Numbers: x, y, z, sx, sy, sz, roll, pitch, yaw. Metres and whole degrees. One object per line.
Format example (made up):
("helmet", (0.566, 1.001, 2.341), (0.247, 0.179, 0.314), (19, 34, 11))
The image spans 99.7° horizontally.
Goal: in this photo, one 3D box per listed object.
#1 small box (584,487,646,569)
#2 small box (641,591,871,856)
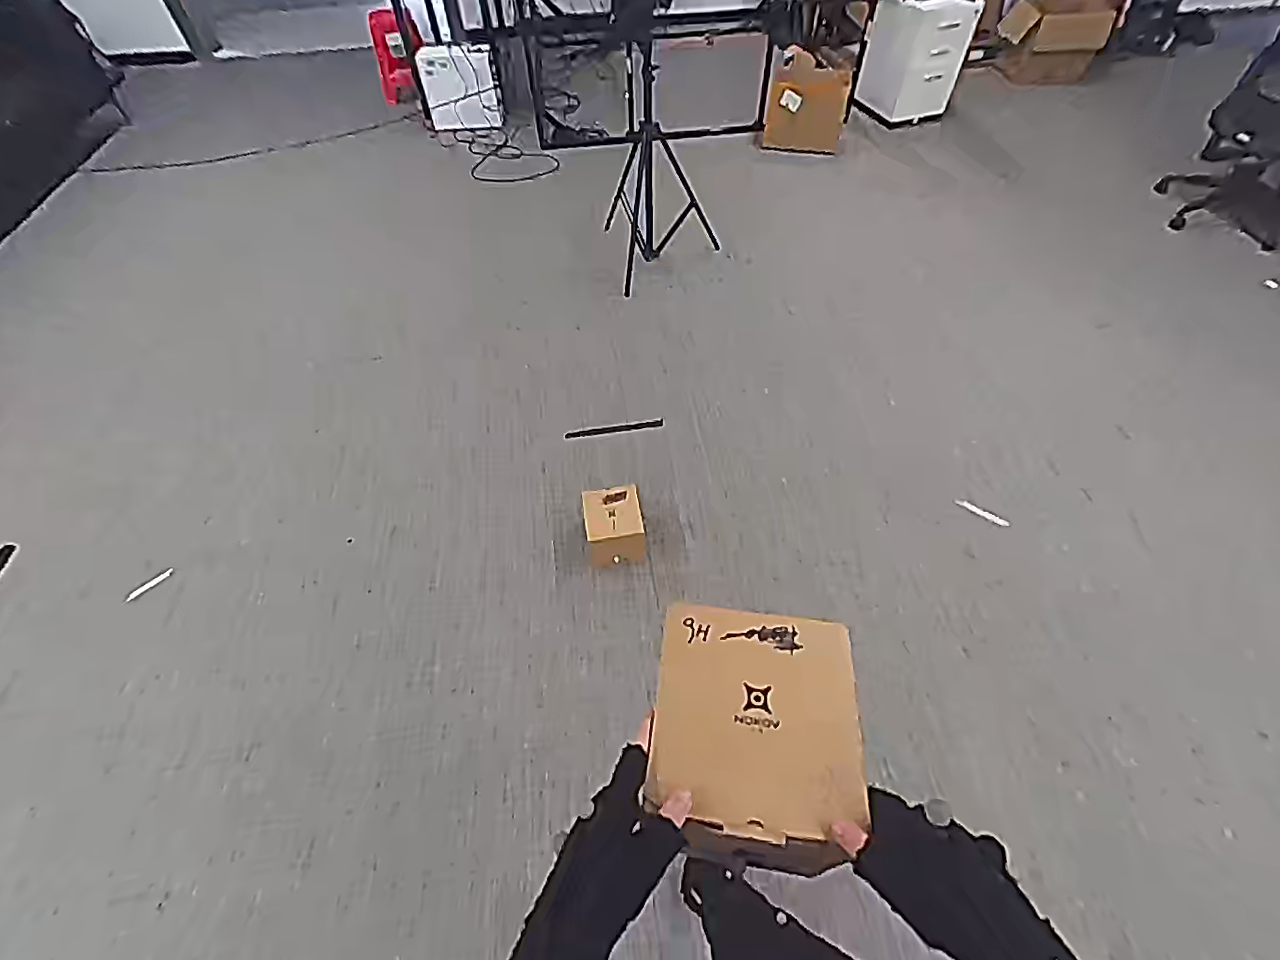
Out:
("small box", (-0.076, 0.148, 1.638), (0.168, 0.176, 0.179), (-8, 54, -4))
("small box", (0.096, 0.227, 0.499), (0.168, 0.176, 0.179), (6, 50, 5))
